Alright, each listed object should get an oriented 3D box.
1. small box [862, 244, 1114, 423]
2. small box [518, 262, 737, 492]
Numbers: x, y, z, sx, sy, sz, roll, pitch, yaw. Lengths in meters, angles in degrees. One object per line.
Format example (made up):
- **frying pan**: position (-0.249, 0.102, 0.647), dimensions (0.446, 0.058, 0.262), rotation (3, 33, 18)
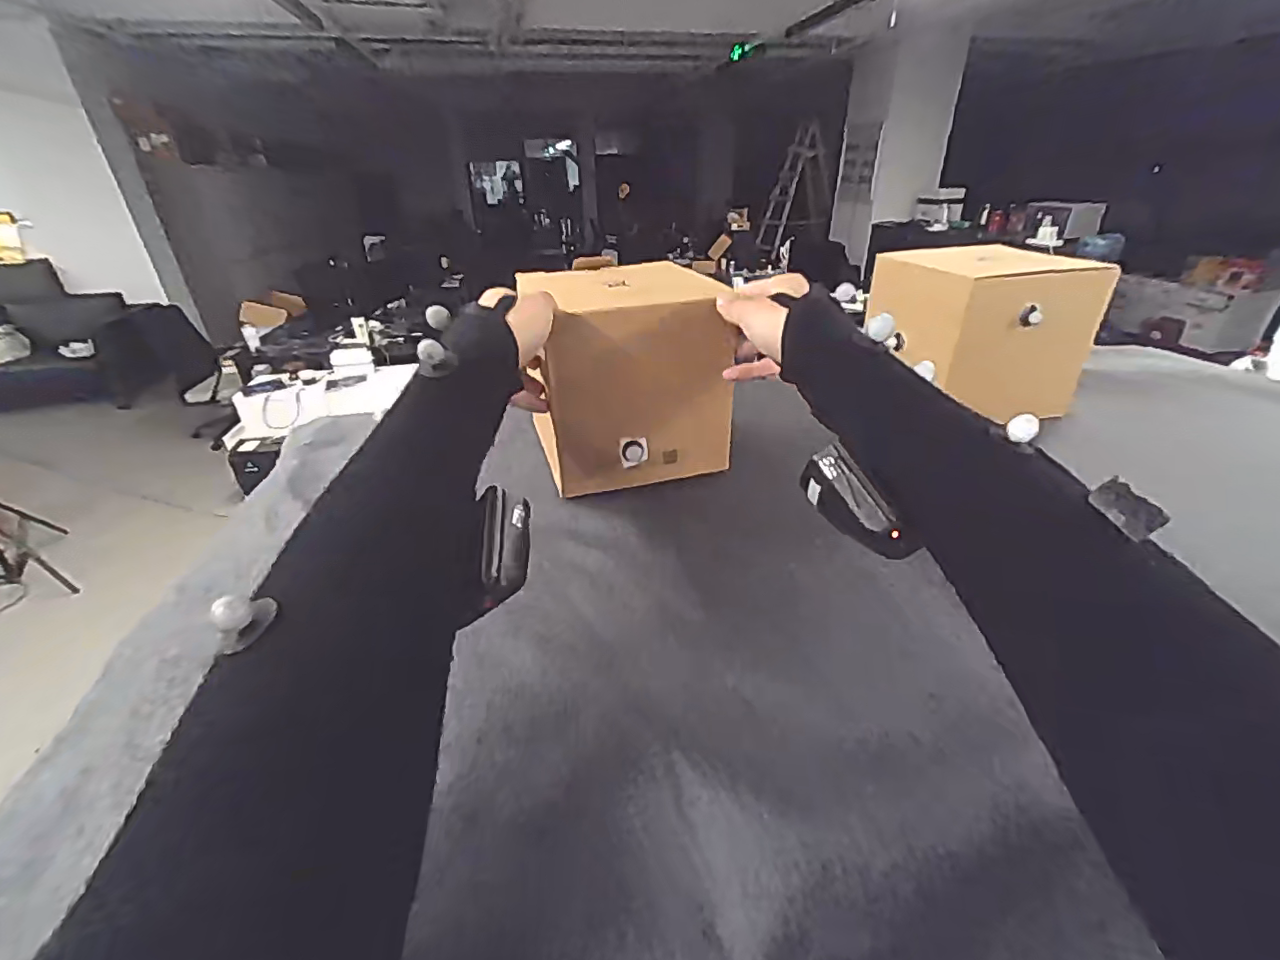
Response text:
- **small box**: position (0.384, -0.175, 0.639), dimensions (0.179, 0.176, 0.168), rotation (-7, 31, -9)
- **small box**: position (-0.019, -0.108, 0.528), dimensions (0.168, 0.176, 0.179), rotation (-11, 31, -13)
